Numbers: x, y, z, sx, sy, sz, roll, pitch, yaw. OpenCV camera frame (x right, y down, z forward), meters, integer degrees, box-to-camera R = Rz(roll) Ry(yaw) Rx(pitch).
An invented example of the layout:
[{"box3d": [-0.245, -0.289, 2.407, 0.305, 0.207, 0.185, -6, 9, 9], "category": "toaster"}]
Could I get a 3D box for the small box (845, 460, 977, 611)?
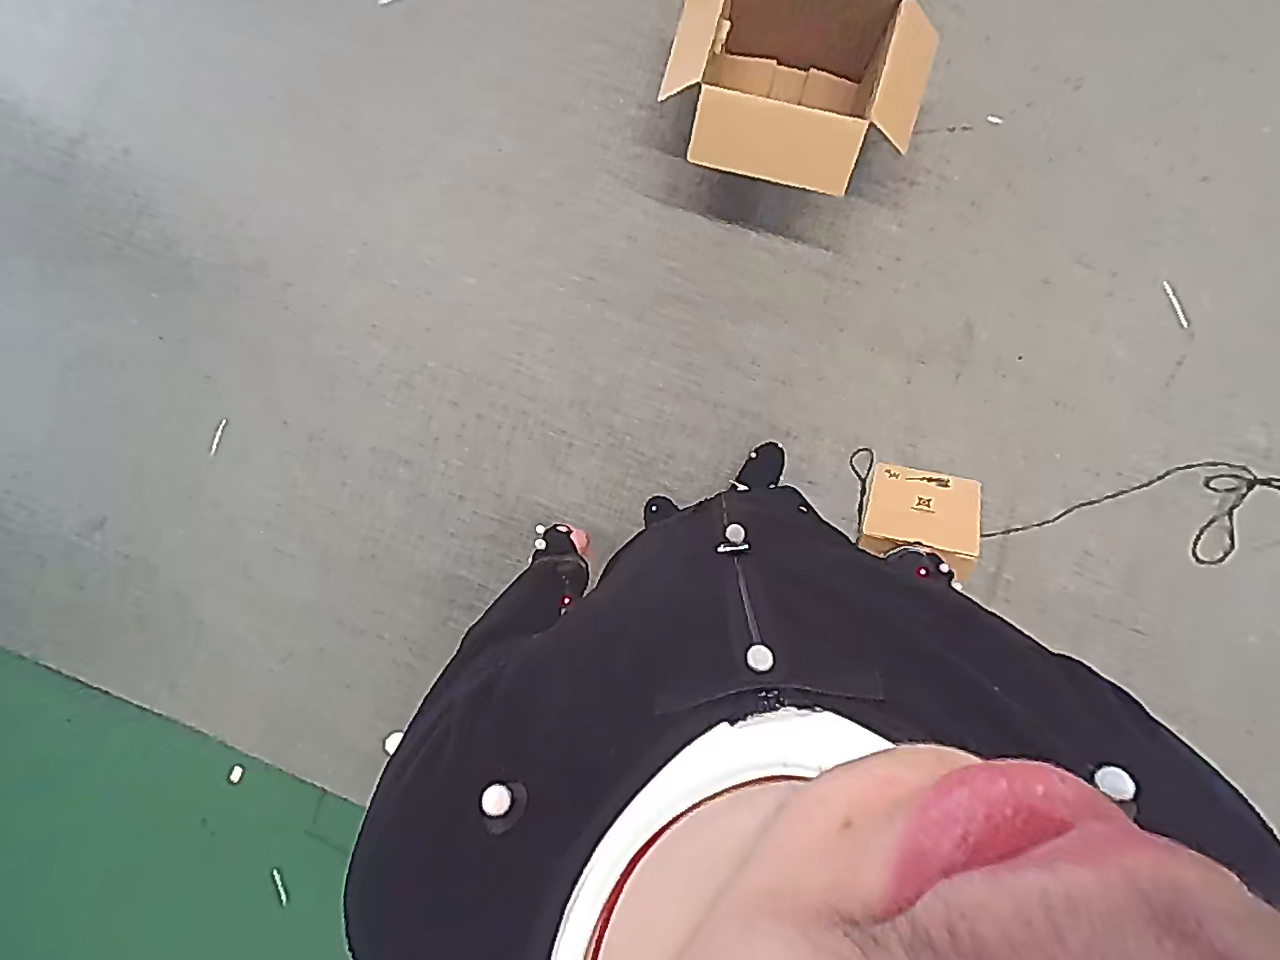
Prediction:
[{"box3d": [0.459, 0.096, 0.929, 0.168, 0.176, 0.179, 14, 48, 22], "category": "small box"}]
